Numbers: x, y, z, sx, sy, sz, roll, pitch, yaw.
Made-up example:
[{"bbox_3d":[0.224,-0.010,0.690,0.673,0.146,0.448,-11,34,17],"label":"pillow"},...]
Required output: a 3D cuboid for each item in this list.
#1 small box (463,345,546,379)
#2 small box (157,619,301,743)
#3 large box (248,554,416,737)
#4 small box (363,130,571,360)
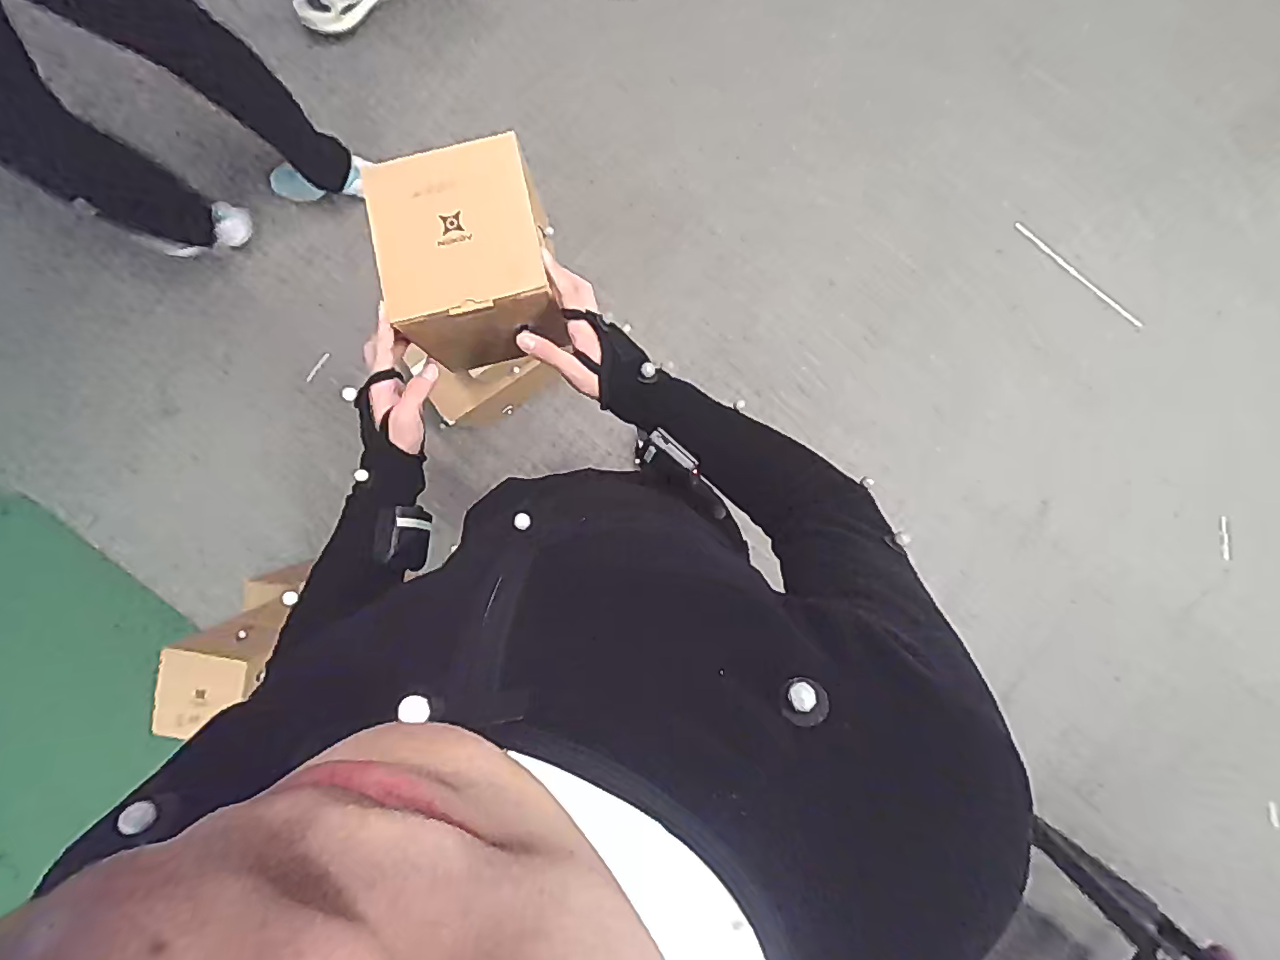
[{"bbox_3d":[-0.335,-0.348,1.227,0.168,0.176,0.179,-31,95,2],"label":"small box"},{"bbox_3d":[-0.835,0.404,1.116,0.168,0.176,0.179,10,94,0],"label":"small box"},{"bbox_3d":[-0.852,0.444,1.531,0.320,0.320,0.408,5,95,1],"label":"large box"},{"bbox_3d":[-0.185,-0.251,0.625,0.168,0.176,0.179,-12,85,1],"label":"small box"}]
